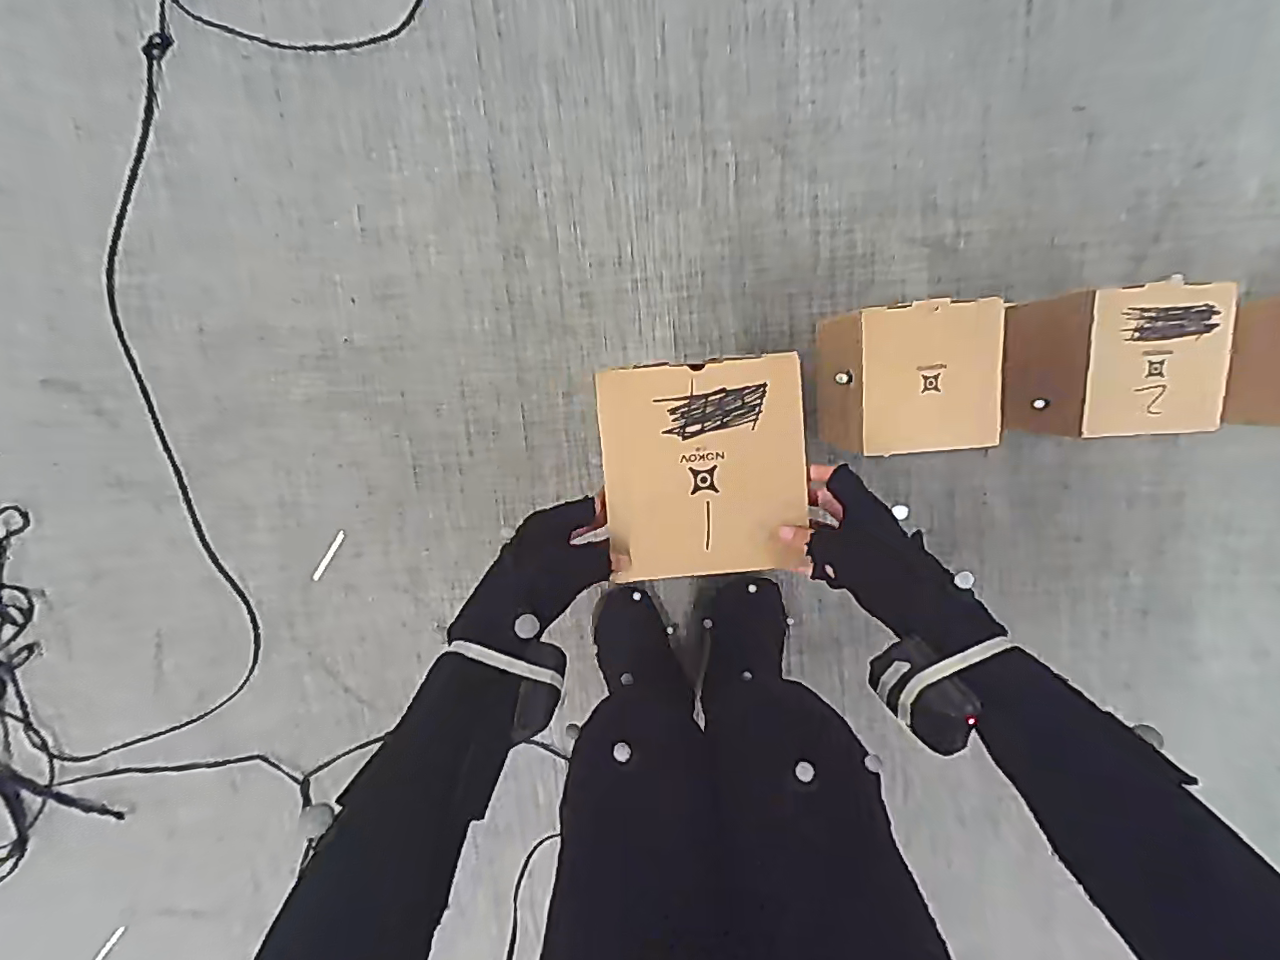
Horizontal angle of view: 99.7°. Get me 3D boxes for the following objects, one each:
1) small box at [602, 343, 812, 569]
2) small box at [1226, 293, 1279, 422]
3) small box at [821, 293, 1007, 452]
[{"bbox_3d":[0.053,-0.025,0.514,0.168,0.176,0.179,-4,96,0],"label":"small box"},{"bbox_3d":[0.935,-0.164,0.703,0.168,0.176,0.179,-4,100,1],"label":"small box"},{"bbox_3d":[0.346,-0.139,0.713,0.168,0.176,0.179,-5,99,2],"label":"small box"}]
